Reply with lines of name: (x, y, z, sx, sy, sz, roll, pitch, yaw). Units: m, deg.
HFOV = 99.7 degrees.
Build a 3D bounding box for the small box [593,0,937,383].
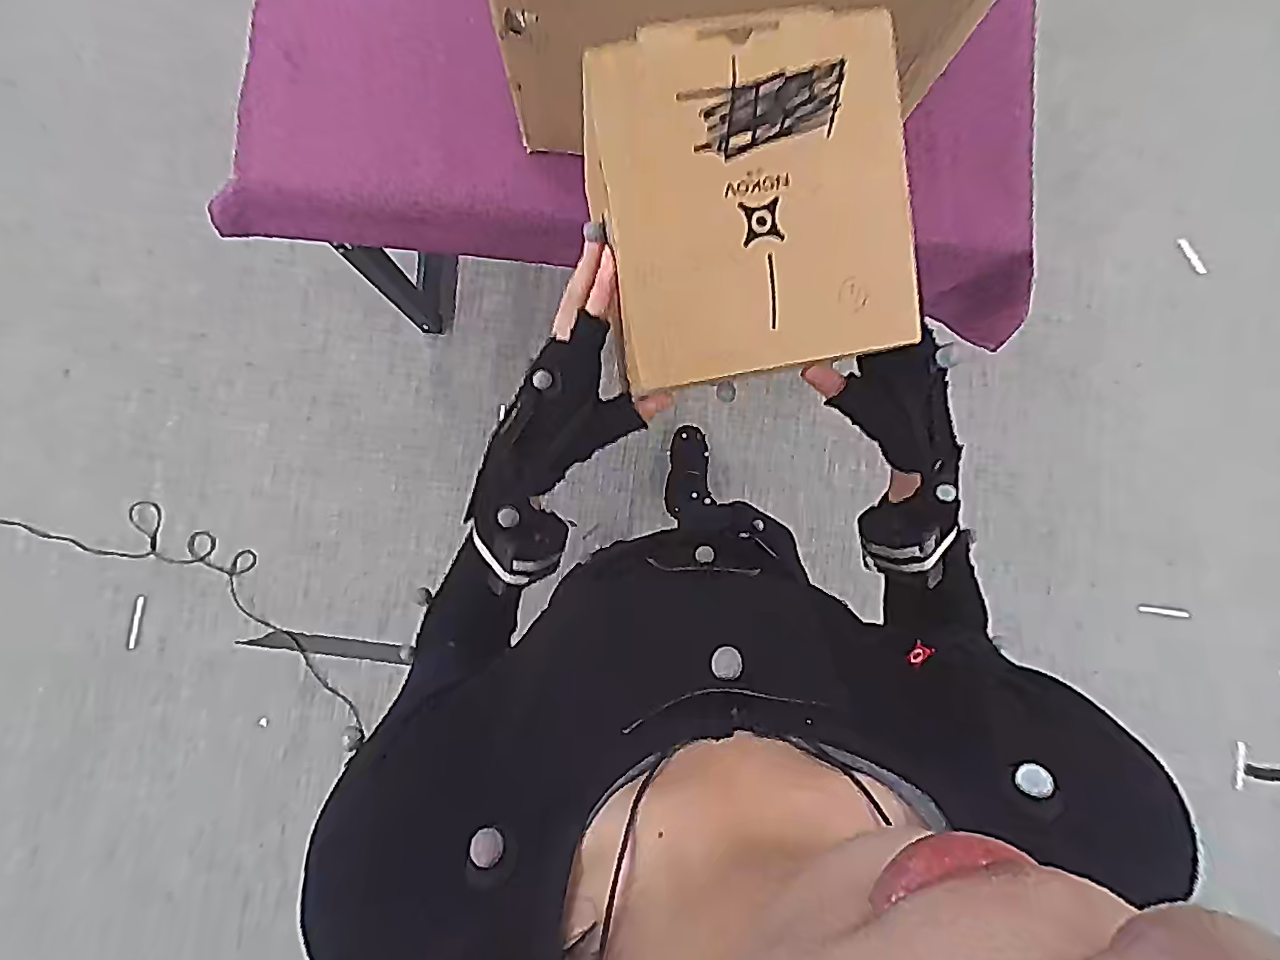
small box: (0.063, -0.168, 0.361, 0.168, 0.176, 0.179, -11, 99, -4)
